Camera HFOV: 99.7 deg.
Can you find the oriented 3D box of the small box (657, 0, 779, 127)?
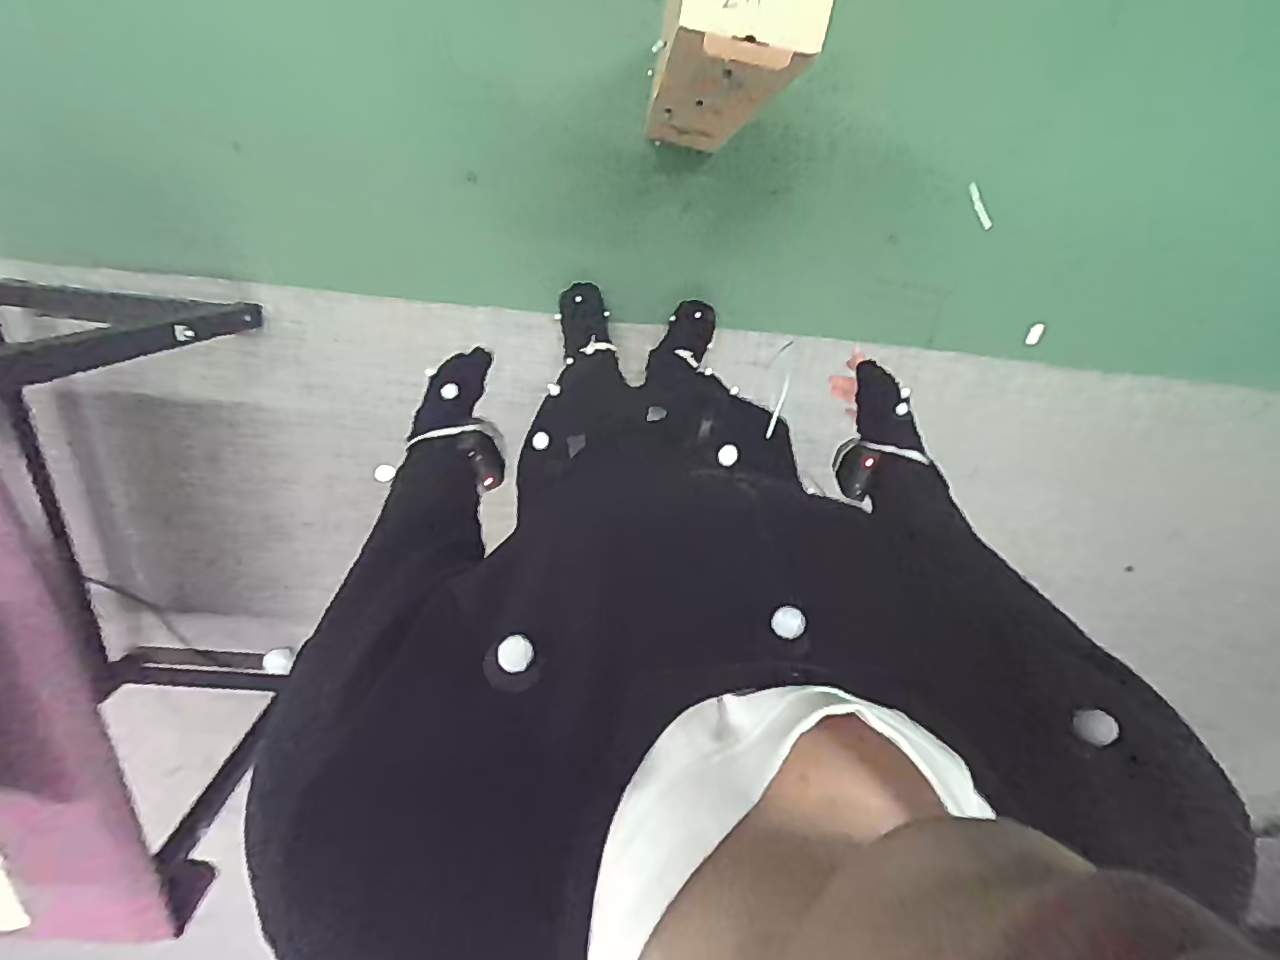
[{"bbox_3d":[0.123,-0.655,0.802,0.168,0.176,0.179,6,113,-6],"label":"small box"}]

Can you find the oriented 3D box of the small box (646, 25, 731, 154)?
[{"bbox_3d":[0.104,-0.781,1.103,0.168,0.176,0.179,5,114,-5],"label":"small box"}]

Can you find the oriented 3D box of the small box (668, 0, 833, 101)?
[{"bbox_3d":[0.132,-0.592,0.649,0.168,0.176,0.179,7,112,-6],"label":"small box"}]
